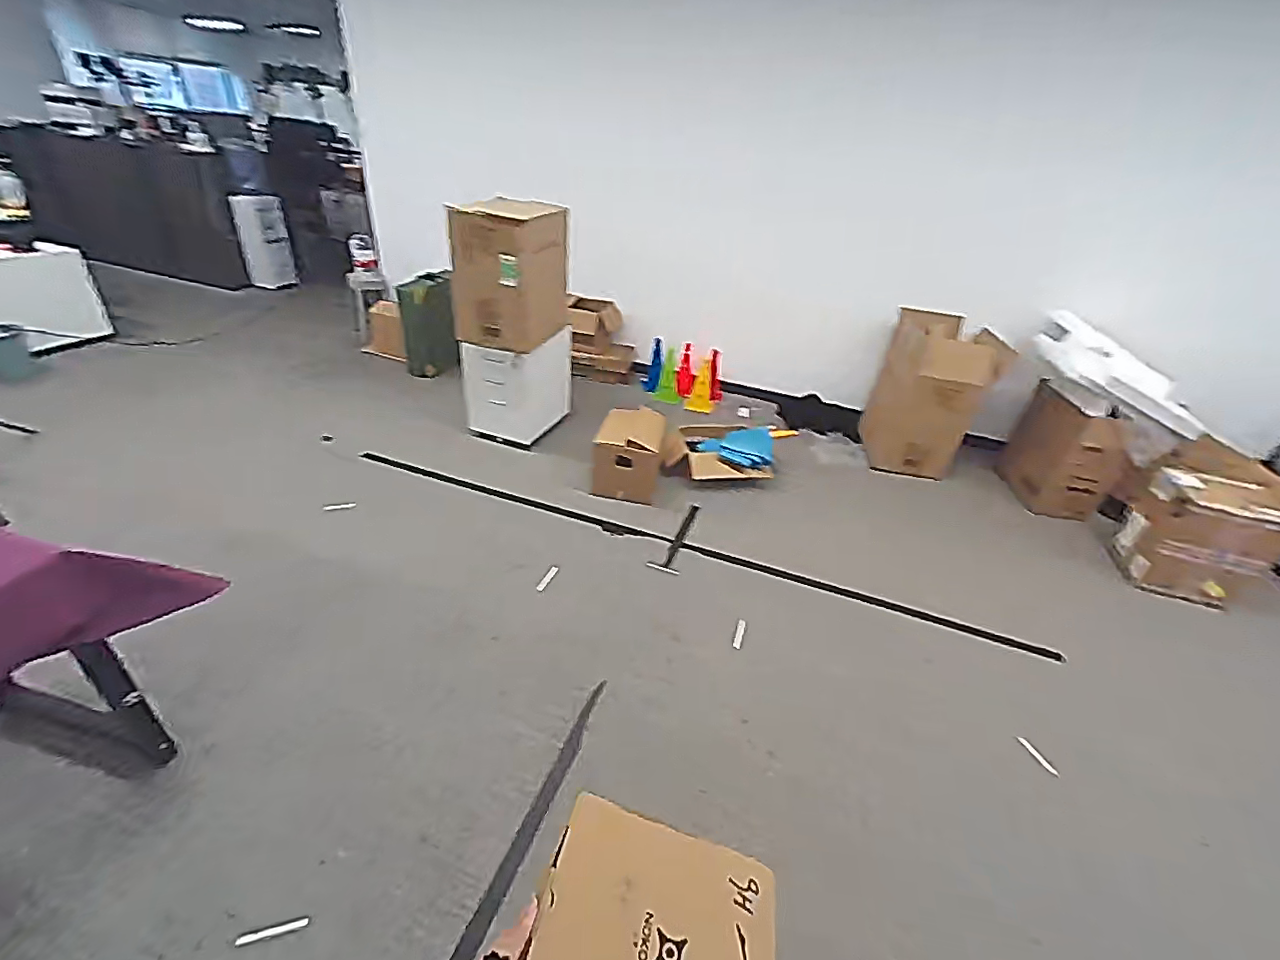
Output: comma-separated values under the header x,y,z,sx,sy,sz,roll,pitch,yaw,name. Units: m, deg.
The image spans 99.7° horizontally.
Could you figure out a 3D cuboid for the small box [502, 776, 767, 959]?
x,y,z,sx,sy,sz,roll,pitch,yaw,name
-0.015,0.377,0.415,0.179,0.176,0.168,20,29,2,small box
